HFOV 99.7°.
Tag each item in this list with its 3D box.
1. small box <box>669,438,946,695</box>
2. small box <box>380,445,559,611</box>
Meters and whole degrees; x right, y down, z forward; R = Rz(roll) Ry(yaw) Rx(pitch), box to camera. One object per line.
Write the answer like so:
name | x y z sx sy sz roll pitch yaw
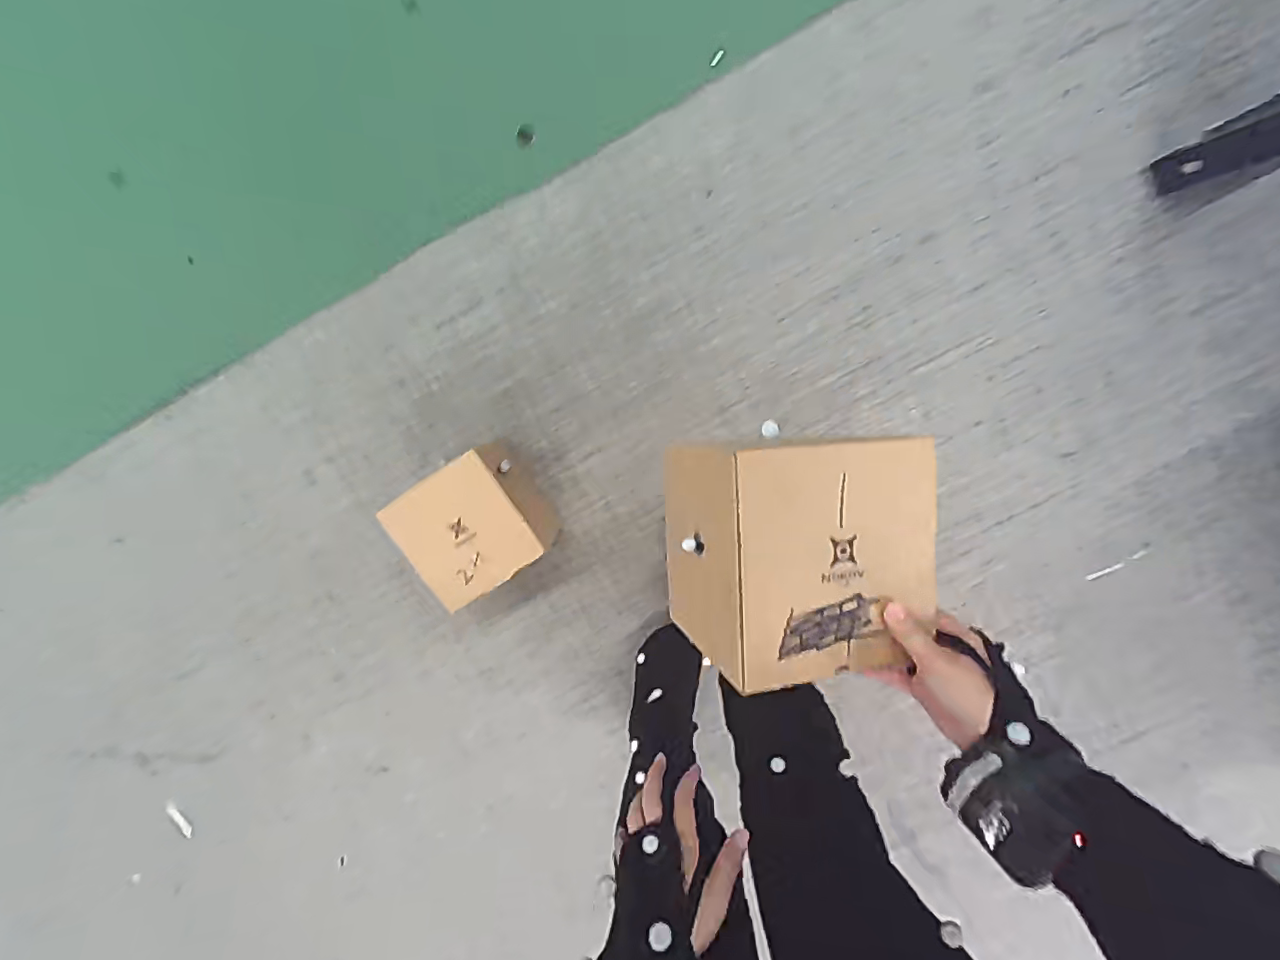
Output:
small box | 0.127 0.055 0.465 0.168 0.176 0.179 -3 95 -15
small box | -0.243 0.059 0.819 0.168 0.176 0.179 -33 99 5
